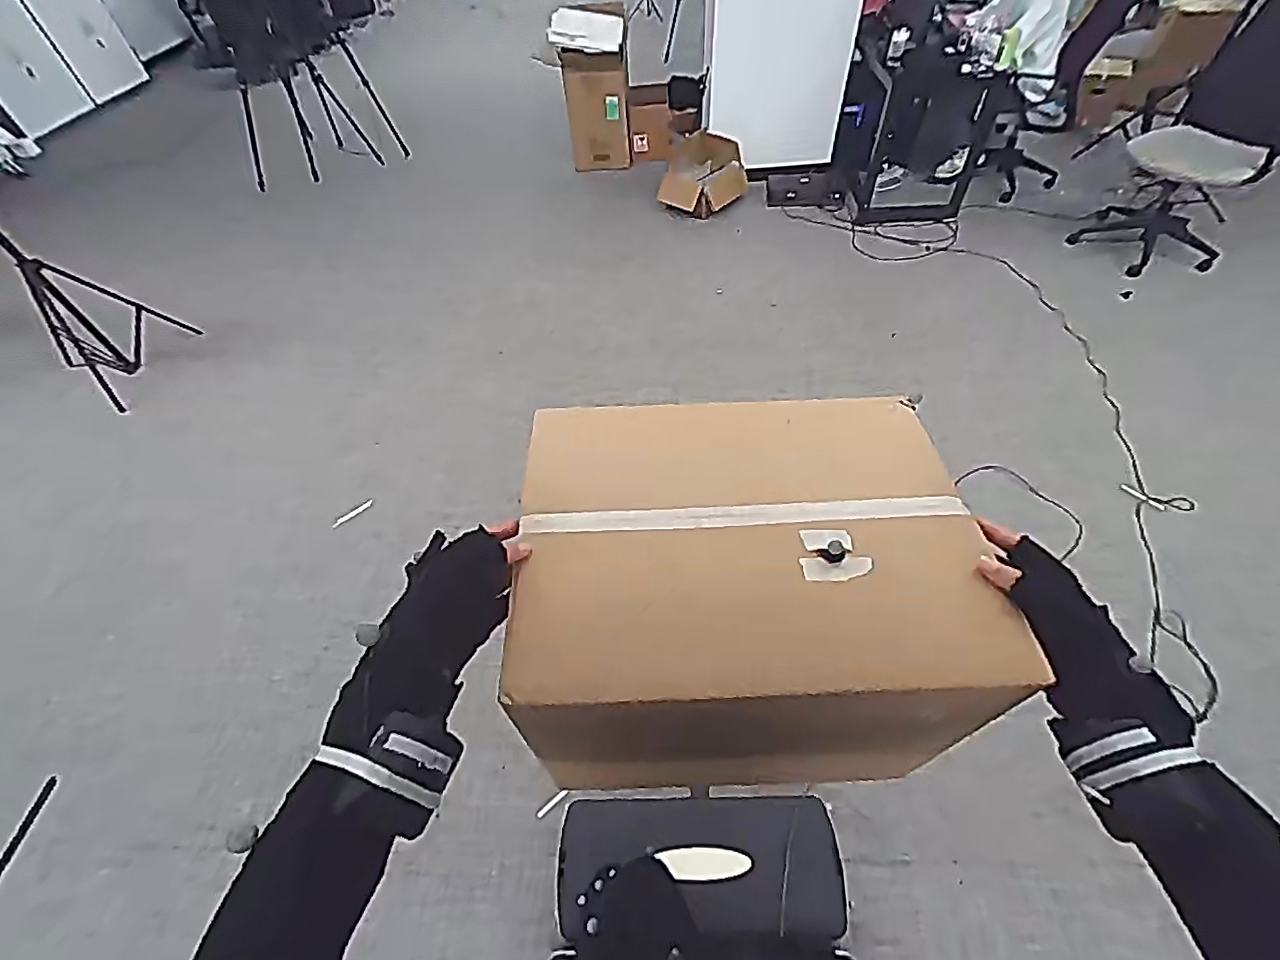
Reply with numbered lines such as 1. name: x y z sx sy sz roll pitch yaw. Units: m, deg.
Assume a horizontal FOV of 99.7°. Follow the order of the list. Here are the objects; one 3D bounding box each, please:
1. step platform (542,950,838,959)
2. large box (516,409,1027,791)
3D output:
1. step platform: 0.103 1.139 1.084 0.684 0.204 0.286 -3 51 3
2. large box: 0.096 0.141 0.619 0.408 0.320 0.320 -2 50 -1
